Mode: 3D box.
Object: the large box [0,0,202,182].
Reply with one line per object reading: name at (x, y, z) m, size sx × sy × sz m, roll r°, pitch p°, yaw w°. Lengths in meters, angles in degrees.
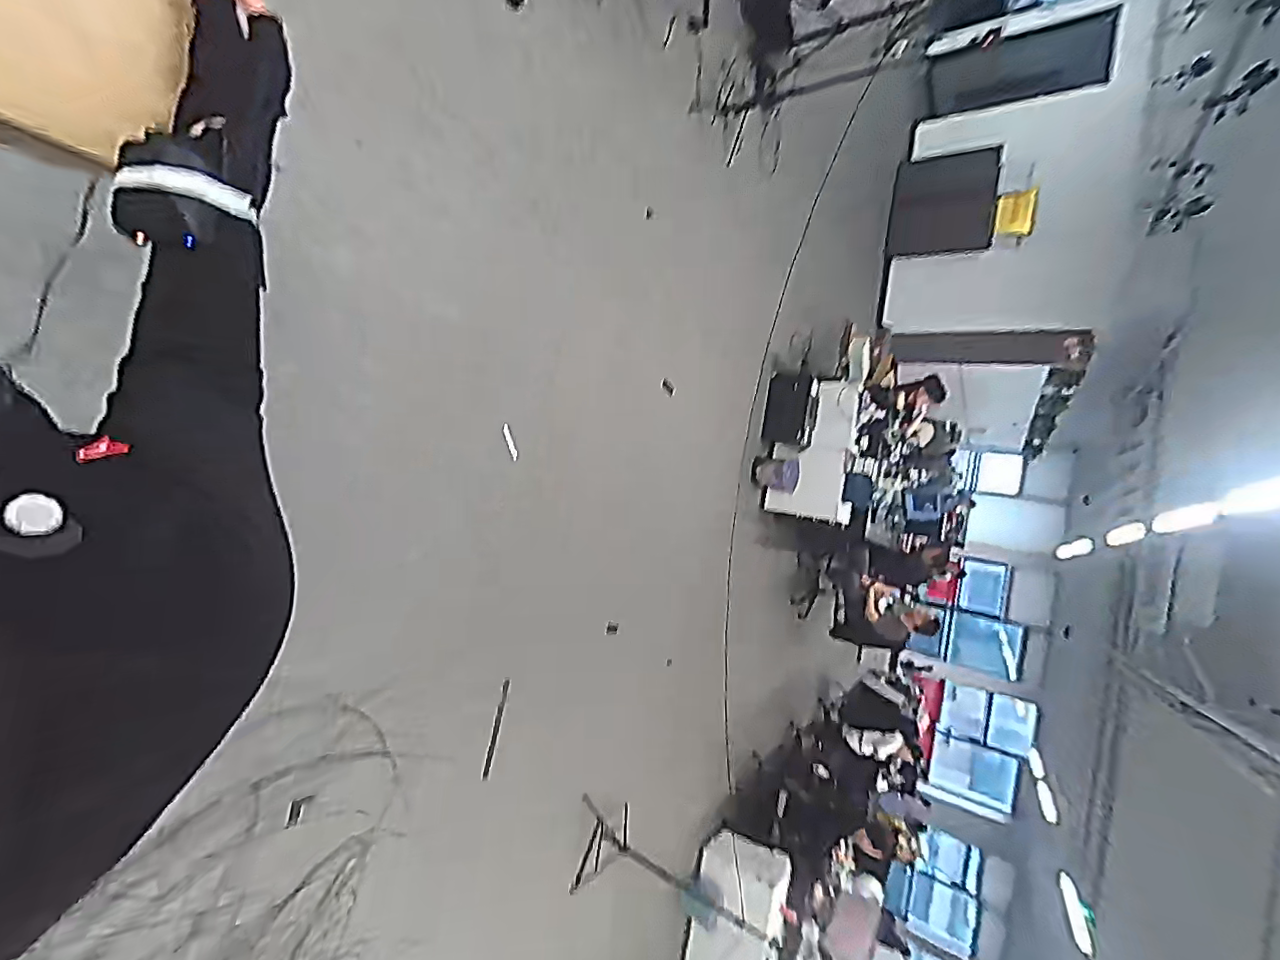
large box at (-0.558, -0.439, 0.316) m, size 0.408 × 0.320 × 0.320 m, roll 6°, pitch 105°, yaw -61°
